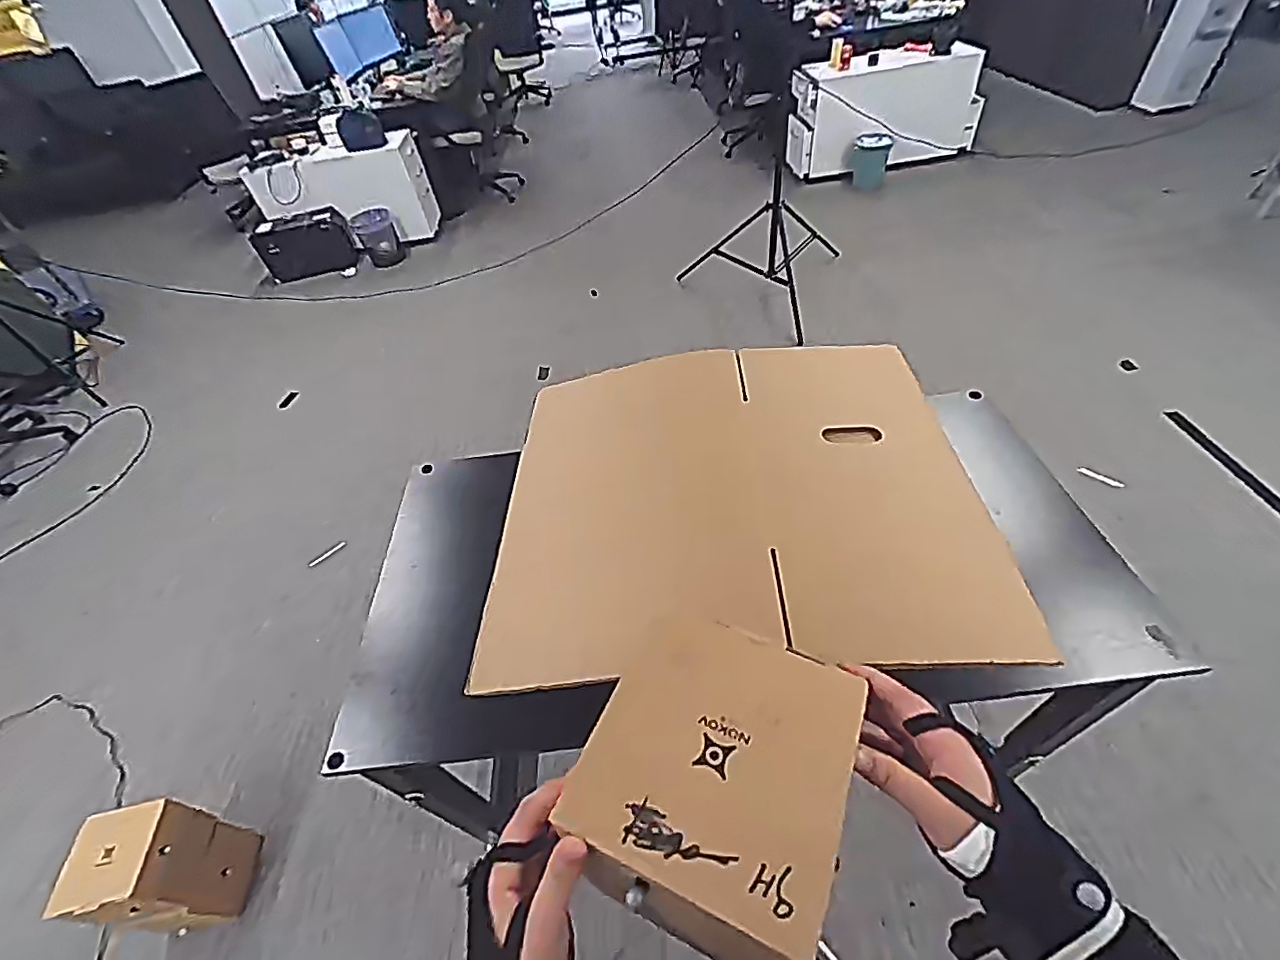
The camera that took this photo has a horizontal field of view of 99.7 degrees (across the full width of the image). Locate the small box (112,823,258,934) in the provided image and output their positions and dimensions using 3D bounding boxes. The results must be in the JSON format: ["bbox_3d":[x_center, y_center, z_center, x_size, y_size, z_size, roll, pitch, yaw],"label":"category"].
[{"bbox_3d":[-1.034,0.924,1.252,0.168,0.176,0.179,-11,48,-1],"label":"small box"}]

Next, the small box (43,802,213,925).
[{"bbox_3d":[-1.054,0.810,1.137,0.168,0.176,0.179,-12,46,-3],"label":"small box"}]
